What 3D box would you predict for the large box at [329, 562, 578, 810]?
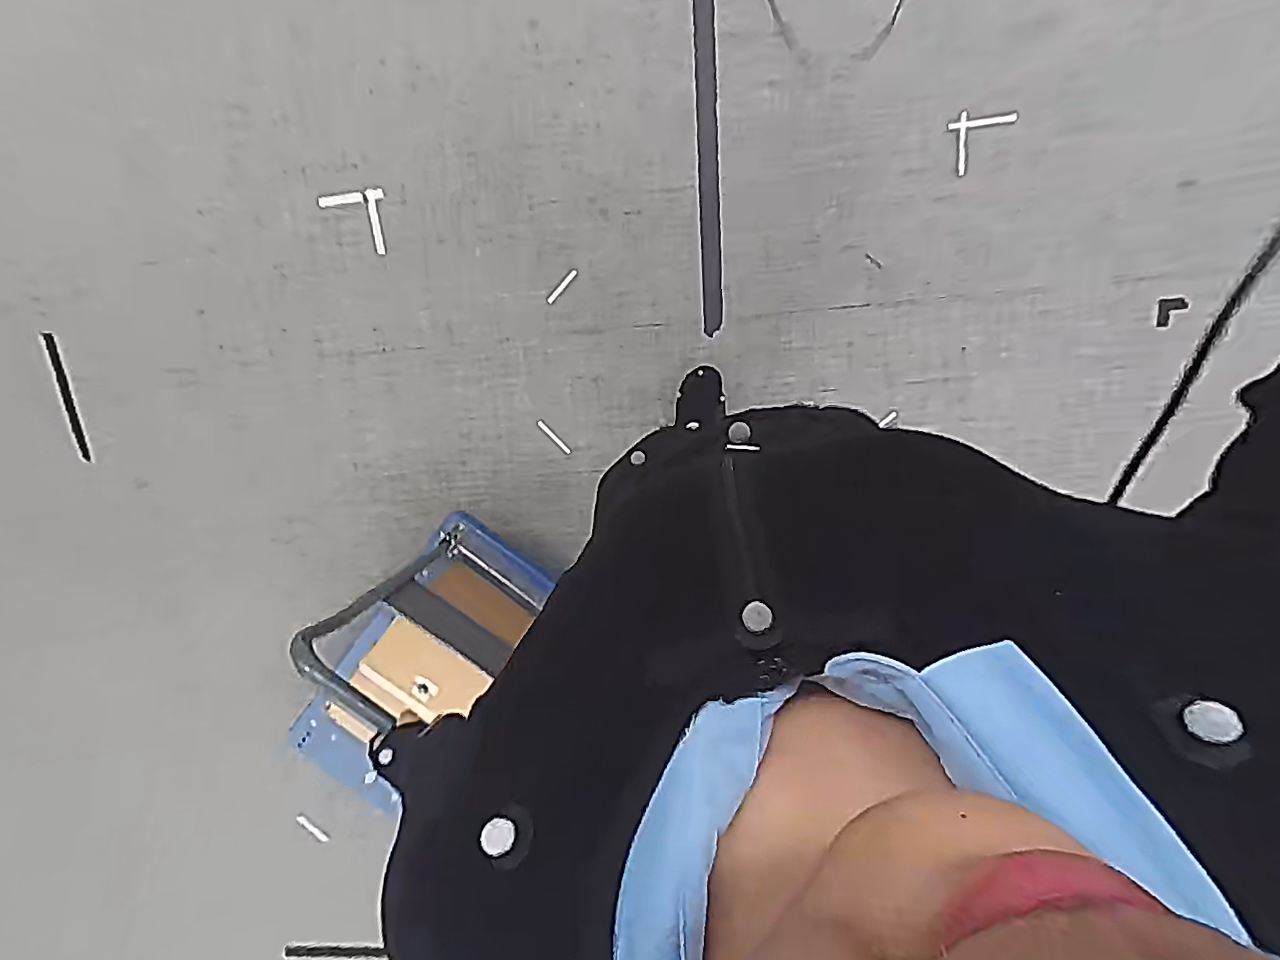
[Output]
[{"bbox_3d":[-0.417,0.472,1.299,0.408,0.320,0.320,38,101,-4],"label":"large box"}]
